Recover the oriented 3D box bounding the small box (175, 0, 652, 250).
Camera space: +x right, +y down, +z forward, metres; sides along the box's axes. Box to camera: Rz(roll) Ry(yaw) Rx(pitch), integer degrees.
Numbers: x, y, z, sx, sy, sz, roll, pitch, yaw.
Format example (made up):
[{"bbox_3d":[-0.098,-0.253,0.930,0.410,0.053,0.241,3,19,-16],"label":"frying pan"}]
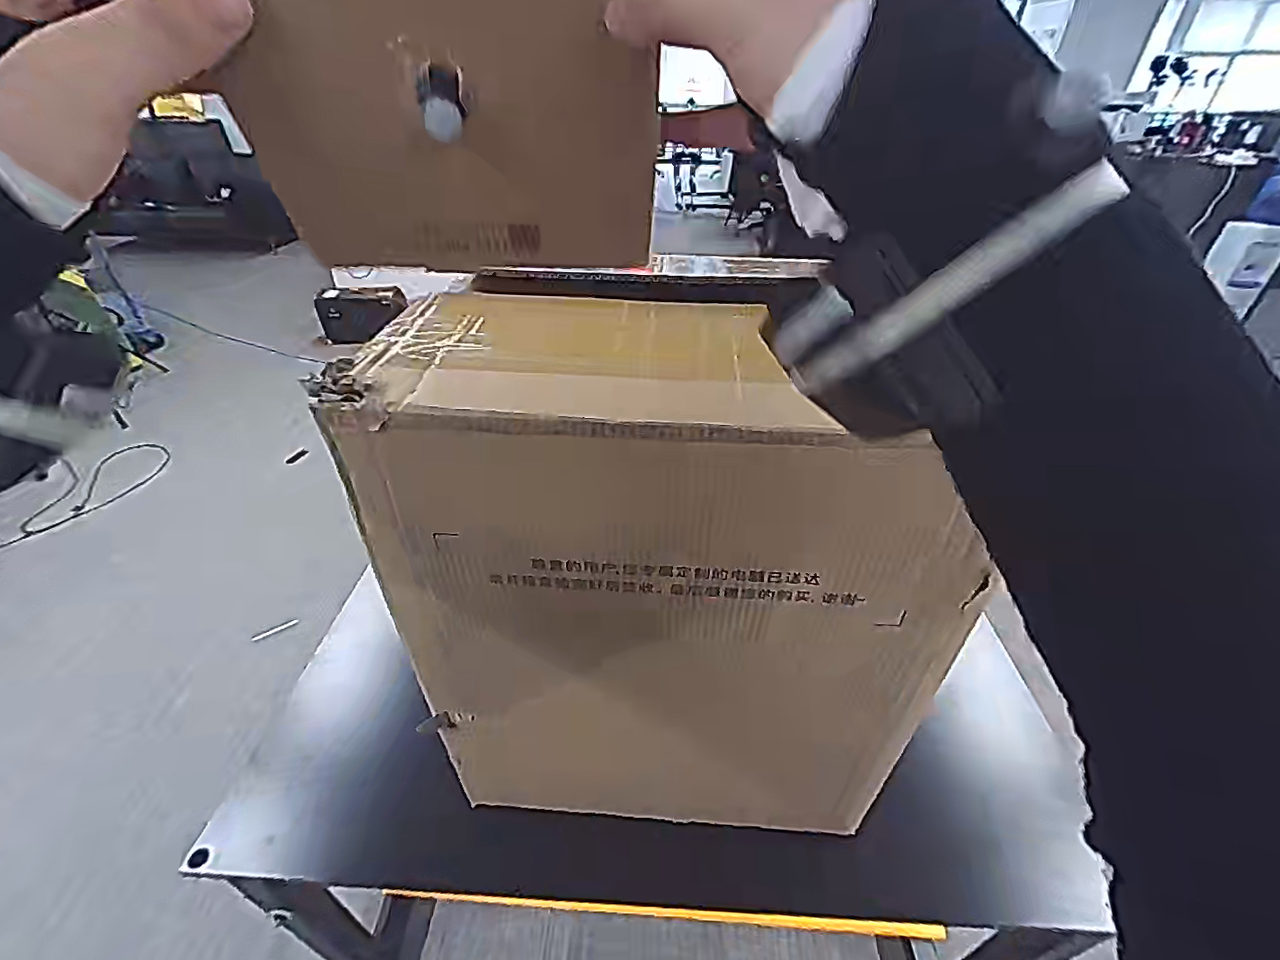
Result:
[{"bbox_3d":[-0.079,-0.224,0.240,0.168,0.176,0.179,-1,61,-2],"label":"small box"}]
